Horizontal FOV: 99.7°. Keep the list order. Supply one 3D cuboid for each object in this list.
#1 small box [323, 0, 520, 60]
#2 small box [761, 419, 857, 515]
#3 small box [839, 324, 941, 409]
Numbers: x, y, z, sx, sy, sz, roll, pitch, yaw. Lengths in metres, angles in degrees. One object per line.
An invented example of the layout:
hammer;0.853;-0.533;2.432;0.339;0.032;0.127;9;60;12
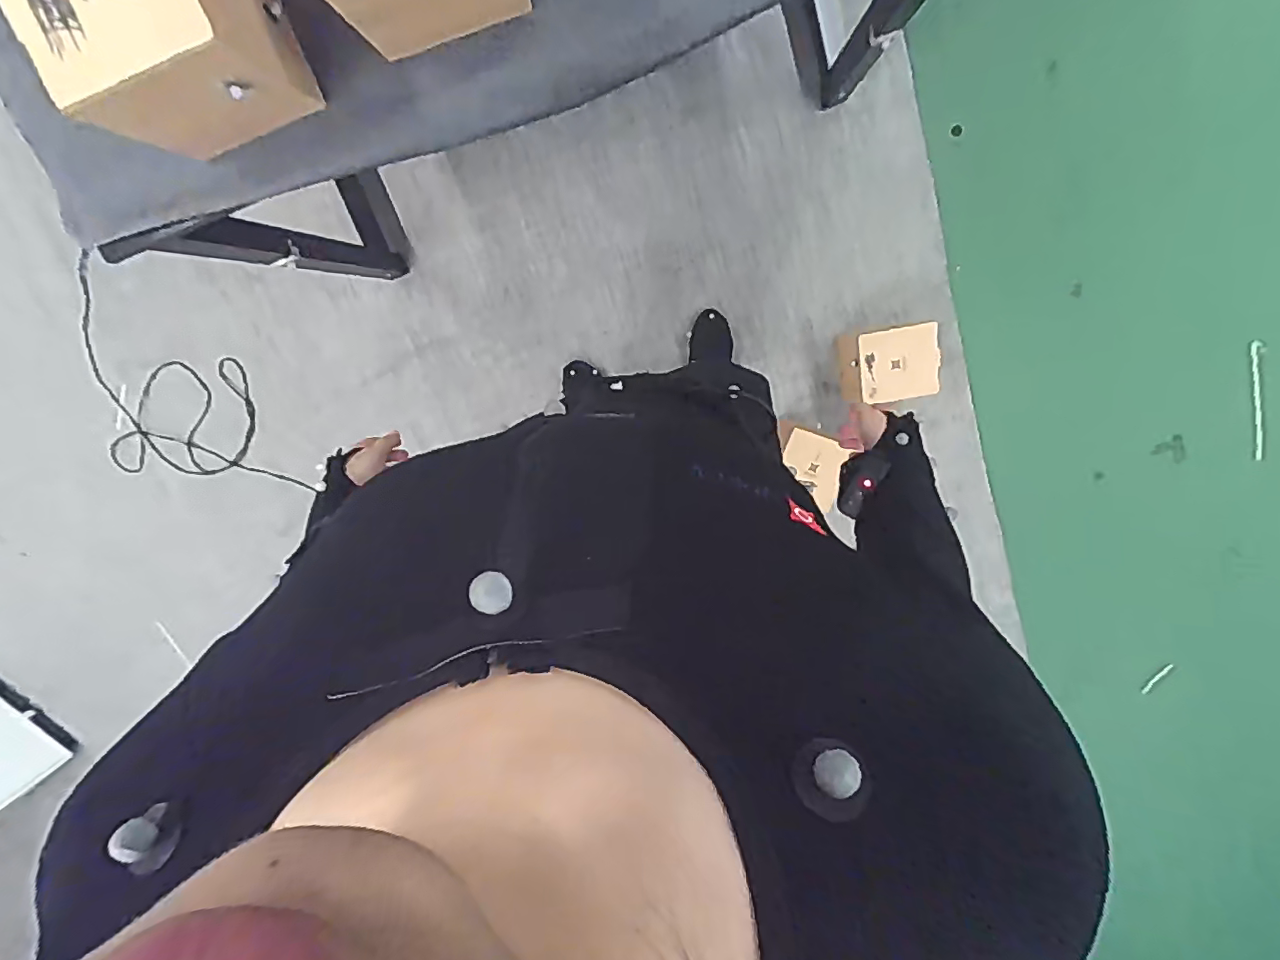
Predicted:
small box;-0.224;-0.546;0.509;0.179;0.176;0.168;-12;104;8
small box;0.422;-0.040;1.386;0.168;0.176;0.179;19;106;-2
small box;0.597;-0.279;1.302;0.179;0.176;0.168;-9;107;6
